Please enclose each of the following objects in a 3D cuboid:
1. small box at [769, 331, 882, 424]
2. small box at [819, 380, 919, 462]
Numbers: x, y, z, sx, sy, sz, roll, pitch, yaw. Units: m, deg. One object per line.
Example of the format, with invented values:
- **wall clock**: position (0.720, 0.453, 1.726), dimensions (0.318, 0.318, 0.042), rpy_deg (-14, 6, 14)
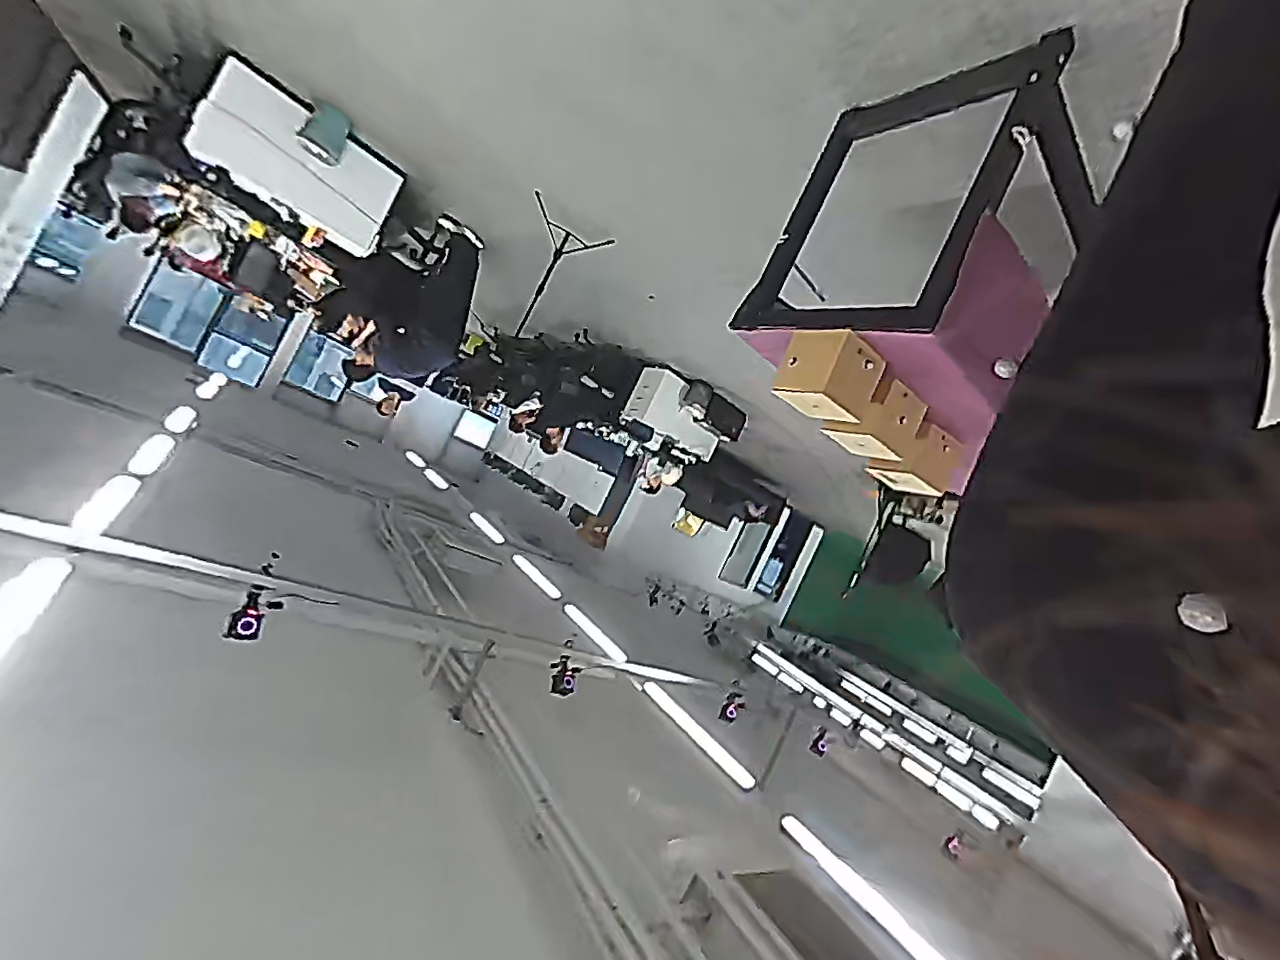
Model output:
- **small box**: position (0.464, -0.259, 1.349), dimensions (0.168, 0.176, 0.179), rpy_deg (25, 179, -33)
- **small box**: position (0.636, -0.169, 1.489), dimensions (0.168, 0.176, 0.179), rpy_deg (27, 178, -31)
